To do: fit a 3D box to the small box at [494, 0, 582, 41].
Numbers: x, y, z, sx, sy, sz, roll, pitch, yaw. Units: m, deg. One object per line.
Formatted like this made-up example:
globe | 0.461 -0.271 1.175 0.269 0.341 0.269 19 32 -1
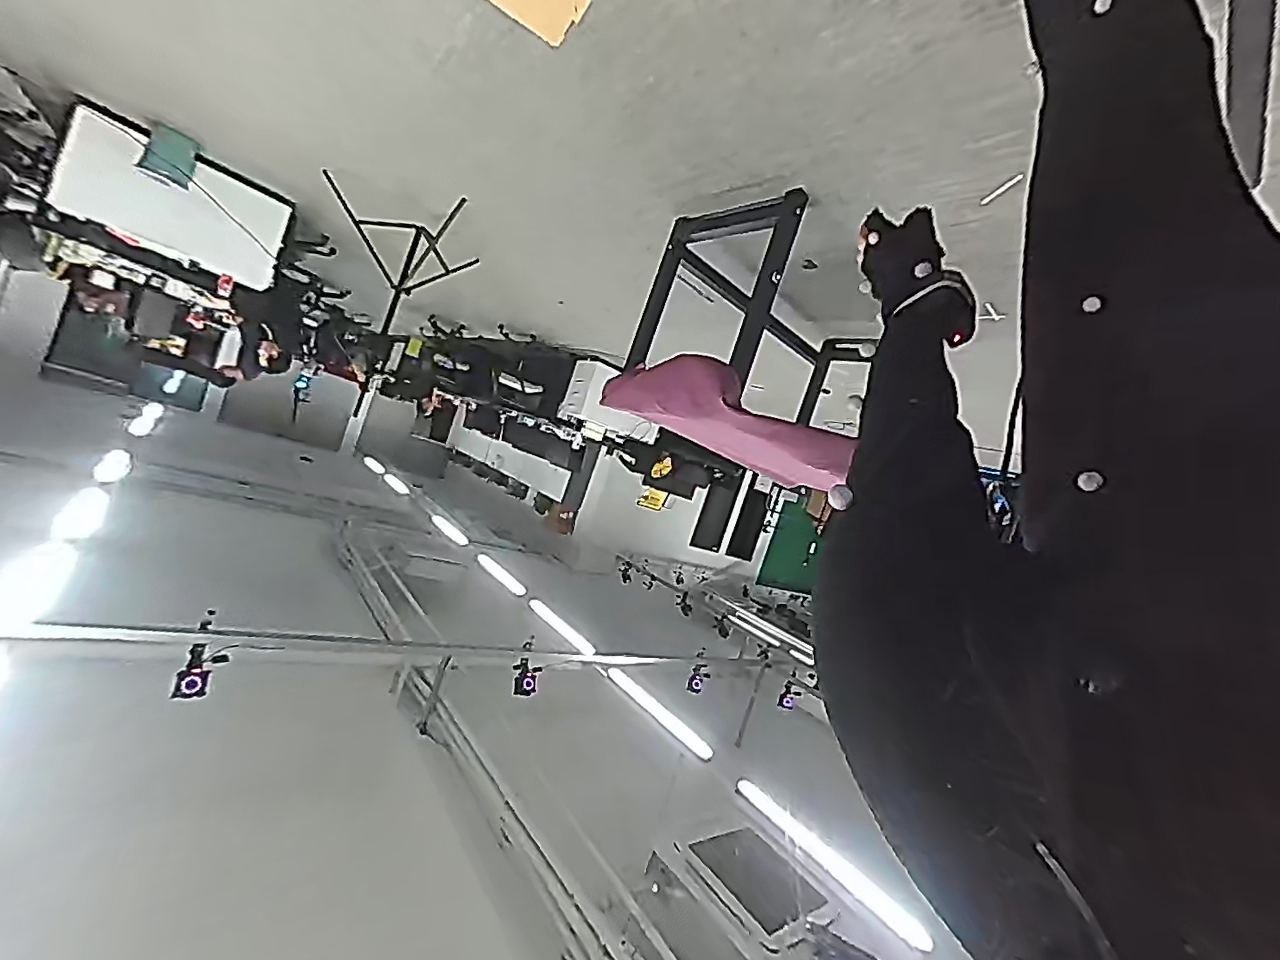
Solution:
small box | -0.118 -0.650 0.584 0.179 0.176 0.168 18 180 -29
